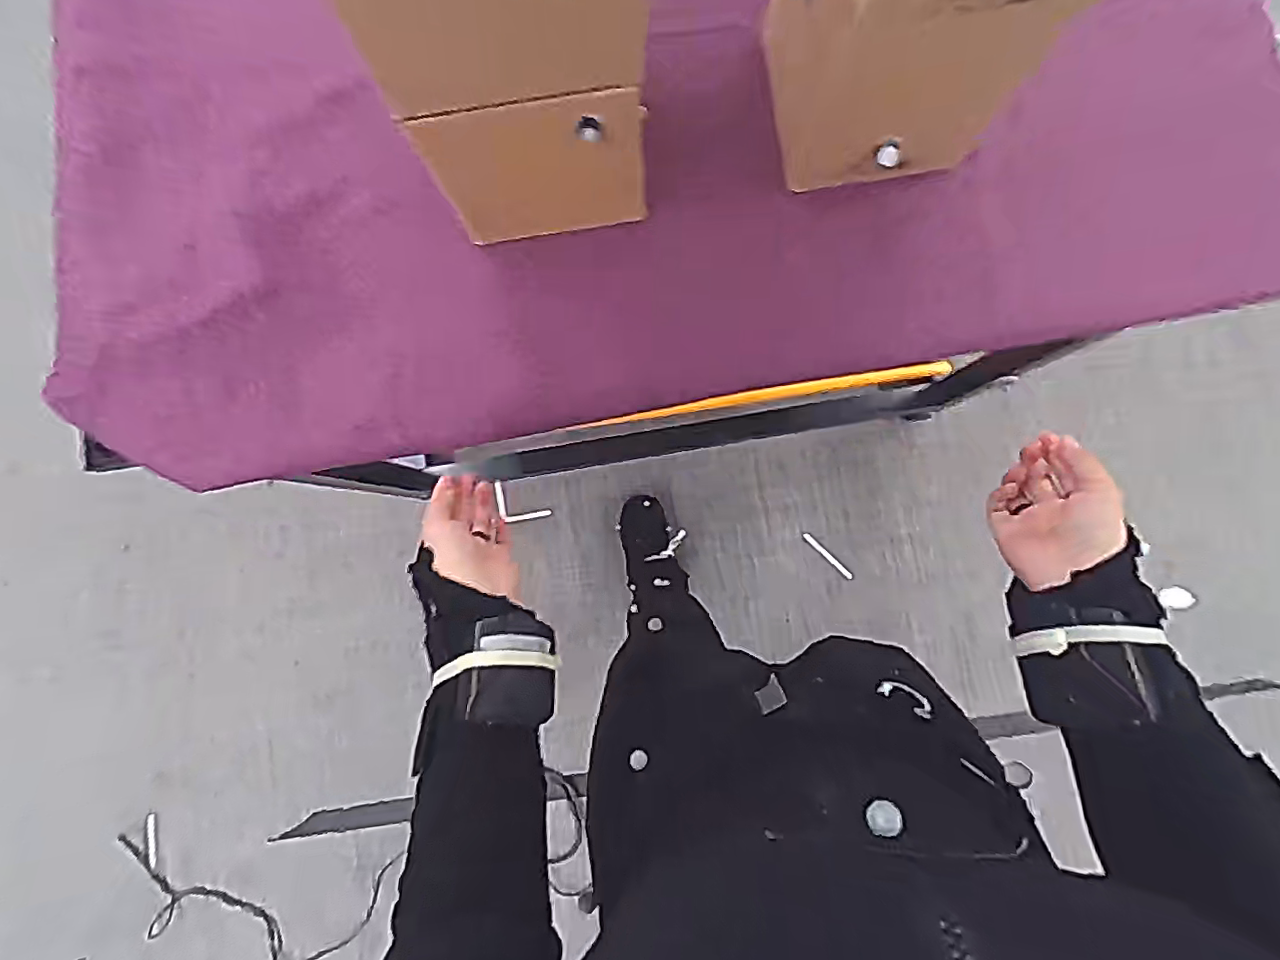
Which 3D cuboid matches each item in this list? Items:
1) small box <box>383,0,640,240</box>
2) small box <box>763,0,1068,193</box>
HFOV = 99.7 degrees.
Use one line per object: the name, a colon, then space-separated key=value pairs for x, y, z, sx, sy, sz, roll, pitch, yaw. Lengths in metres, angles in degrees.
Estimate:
small box: x=-0.098 y=-0.335 z=0.473 sx=0.179 sy=0.176 sz=0.168 roll=-9 pitch=84 yaw=0
small box: x=0.212 y=-0.388 z=0.468 sx=0.168 sy=0.176 sz=0.179 roll=-7 pitch=84 yaw=1
